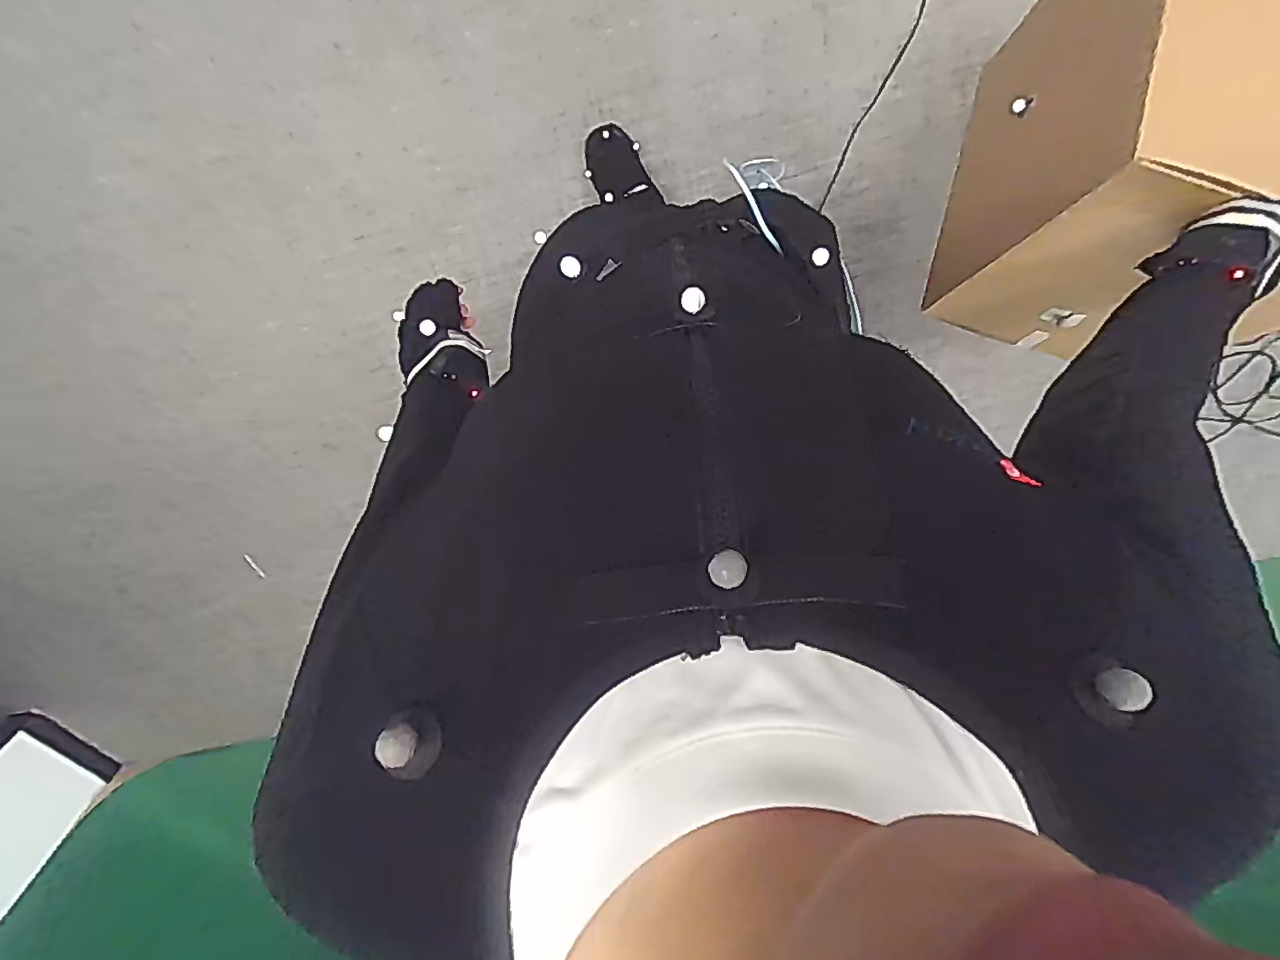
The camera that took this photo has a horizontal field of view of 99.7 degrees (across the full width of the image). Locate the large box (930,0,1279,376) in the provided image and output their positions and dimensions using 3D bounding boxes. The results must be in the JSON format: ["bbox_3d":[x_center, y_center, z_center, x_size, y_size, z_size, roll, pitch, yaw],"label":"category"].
[{"bbox_3d":[0.608,-0.389,0.643,0.320,0.320,0.408,17,82,-3],"label":"large box"}]
